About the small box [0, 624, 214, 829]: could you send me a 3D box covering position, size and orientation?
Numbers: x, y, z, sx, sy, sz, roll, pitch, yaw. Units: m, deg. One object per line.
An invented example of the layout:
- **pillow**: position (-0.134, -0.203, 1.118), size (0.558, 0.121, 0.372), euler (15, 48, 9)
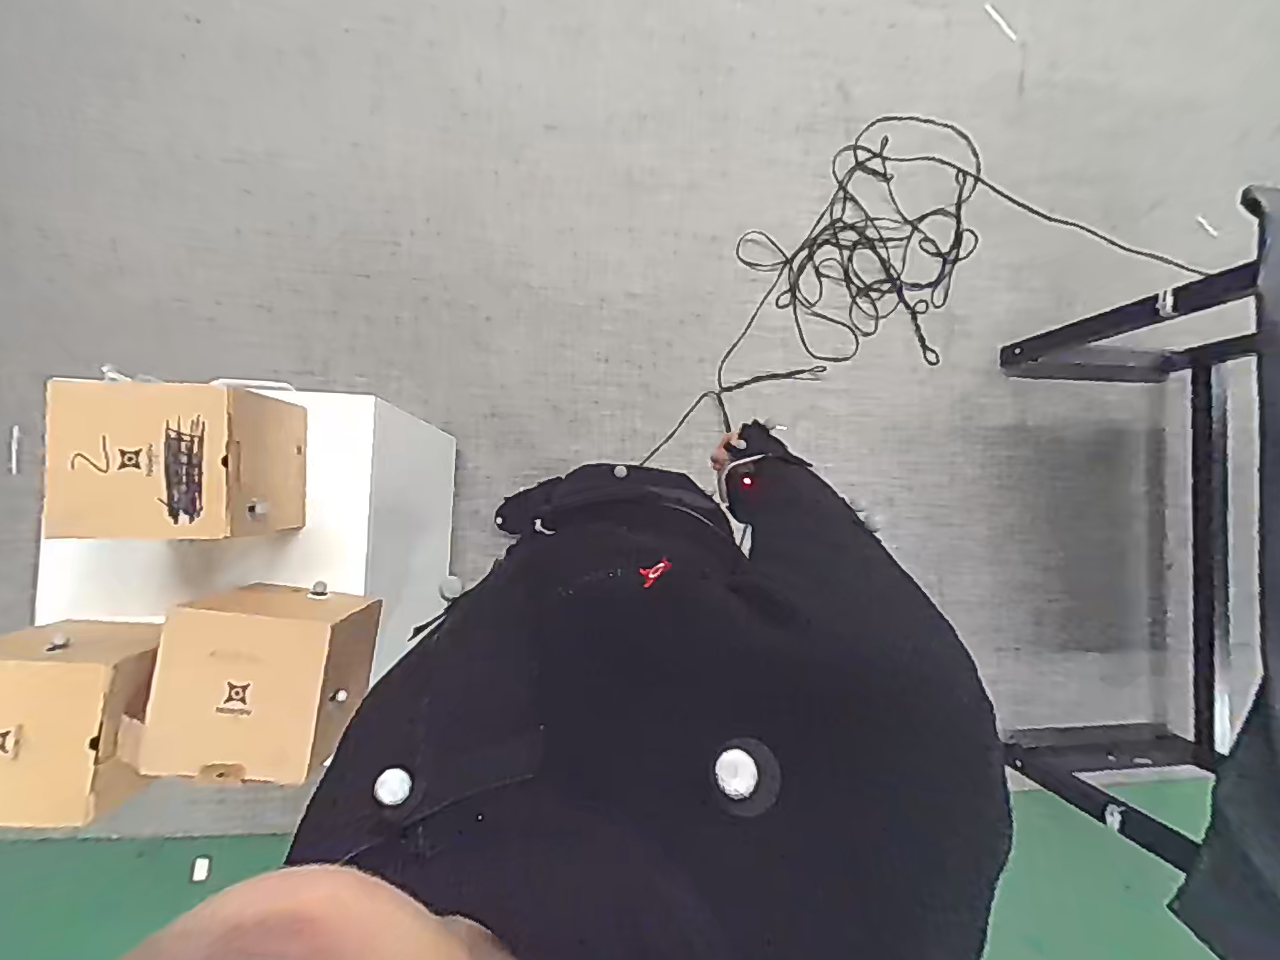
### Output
- **small box**: position (-0.641, 0.266, 0.616), size (0.179, 0.176, 0.168), euler (5, 86, -9)
